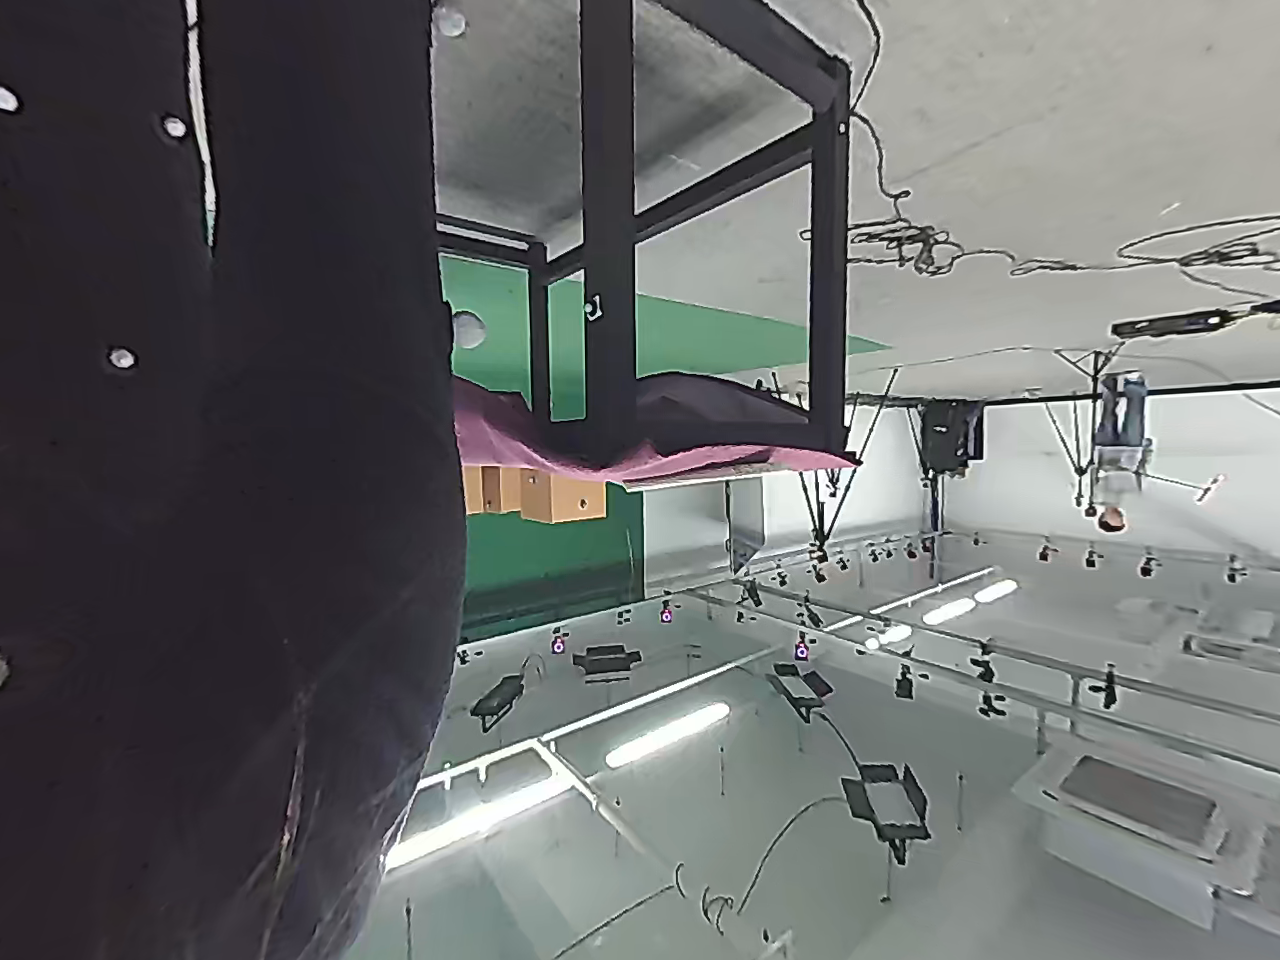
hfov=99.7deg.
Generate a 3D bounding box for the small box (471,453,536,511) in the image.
[{"bbox_3d":[-0.421,0.001,1.723,0.168,0.176,0.179,2,-174,45],"label":"small box"}]

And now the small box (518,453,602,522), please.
[{"bbox_3d":[-0.219,0.015,1.483,0.179,0.176,0.168,-3,-175,-40],"label":"small box"}]
